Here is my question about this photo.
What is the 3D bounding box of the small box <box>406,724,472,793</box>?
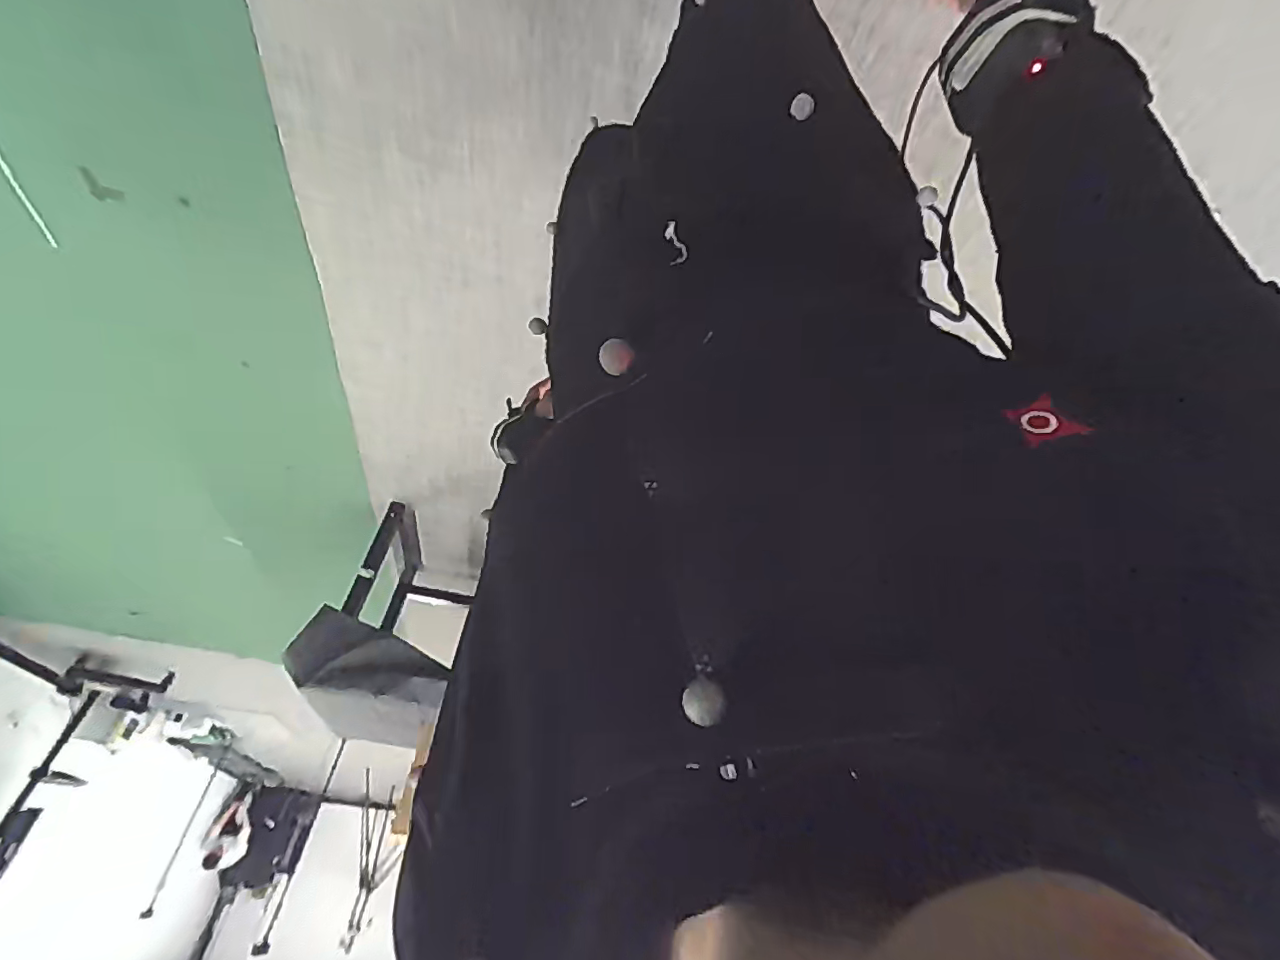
[{"bbox_3d":[-0.672,0.938,1.820,0.168,0.176,0.179,15,141,-9],"label":"small box"}]

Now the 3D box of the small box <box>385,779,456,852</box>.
[{"bbox_3d":[-0.696,1.072,1.728,0.168,0.176,0.179,16,139,-9],"label":"small box"}]
